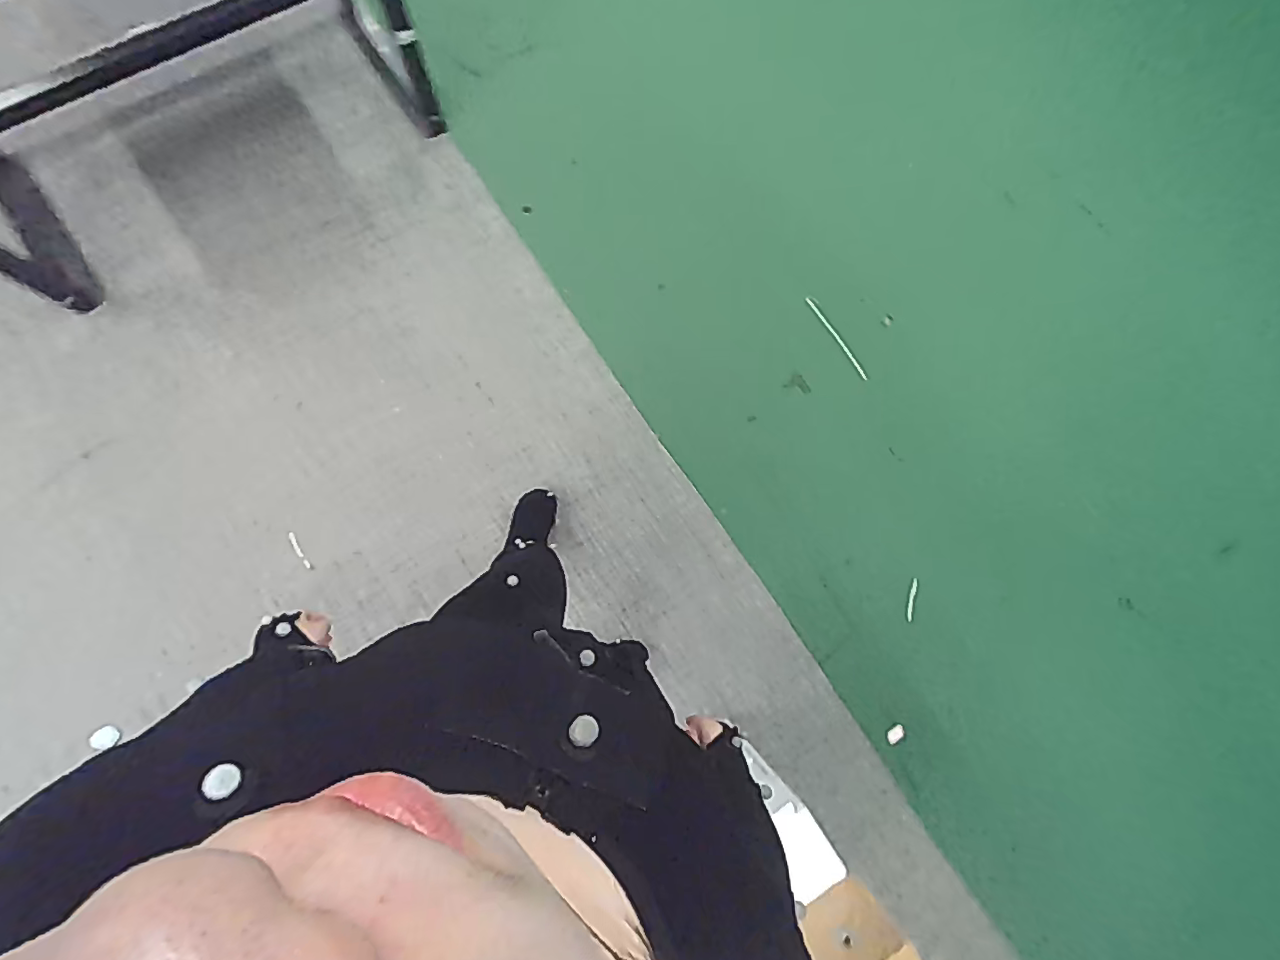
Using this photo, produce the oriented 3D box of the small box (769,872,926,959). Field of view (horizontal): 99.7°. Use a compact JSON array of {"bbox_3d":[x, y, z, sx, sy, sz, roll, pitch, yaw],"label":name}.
[{"bbox_3d":[0.318,0.725,0.780,0.179,0.176,0.168,-30,84,-8],"label":"small box"}]
